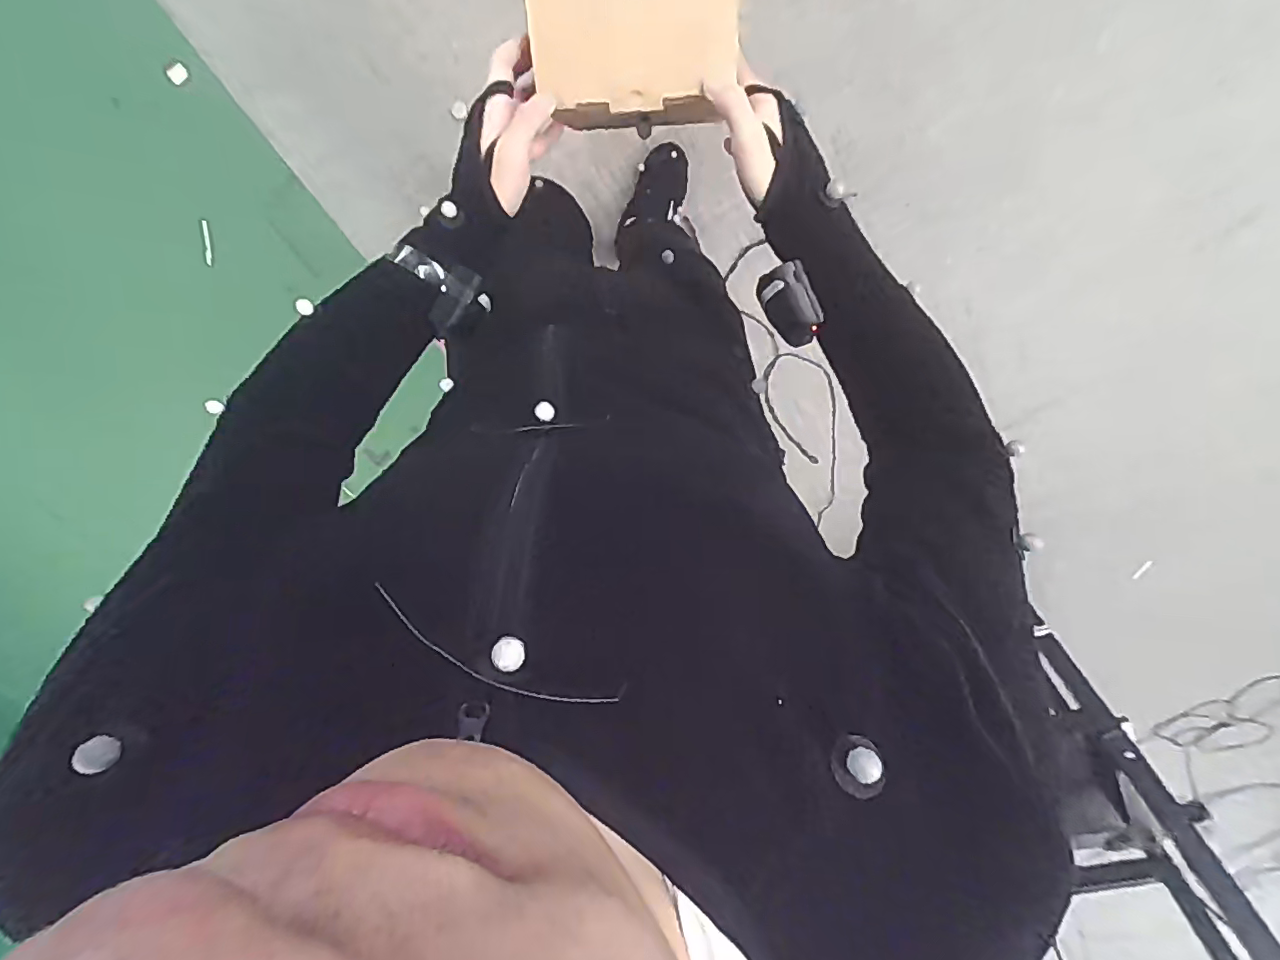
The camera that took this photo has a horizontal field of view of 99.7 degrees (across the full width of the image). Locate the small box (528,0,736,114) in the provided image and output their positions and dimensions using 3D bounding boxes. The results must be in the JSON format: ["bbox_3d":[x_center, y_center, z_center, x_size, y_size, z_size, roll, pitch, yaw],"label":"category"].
[{"bbox_3d":[-0.001,-0.433,0.474,0.168,0.176,0.179,-1,119,6],"label":"small box"}]
